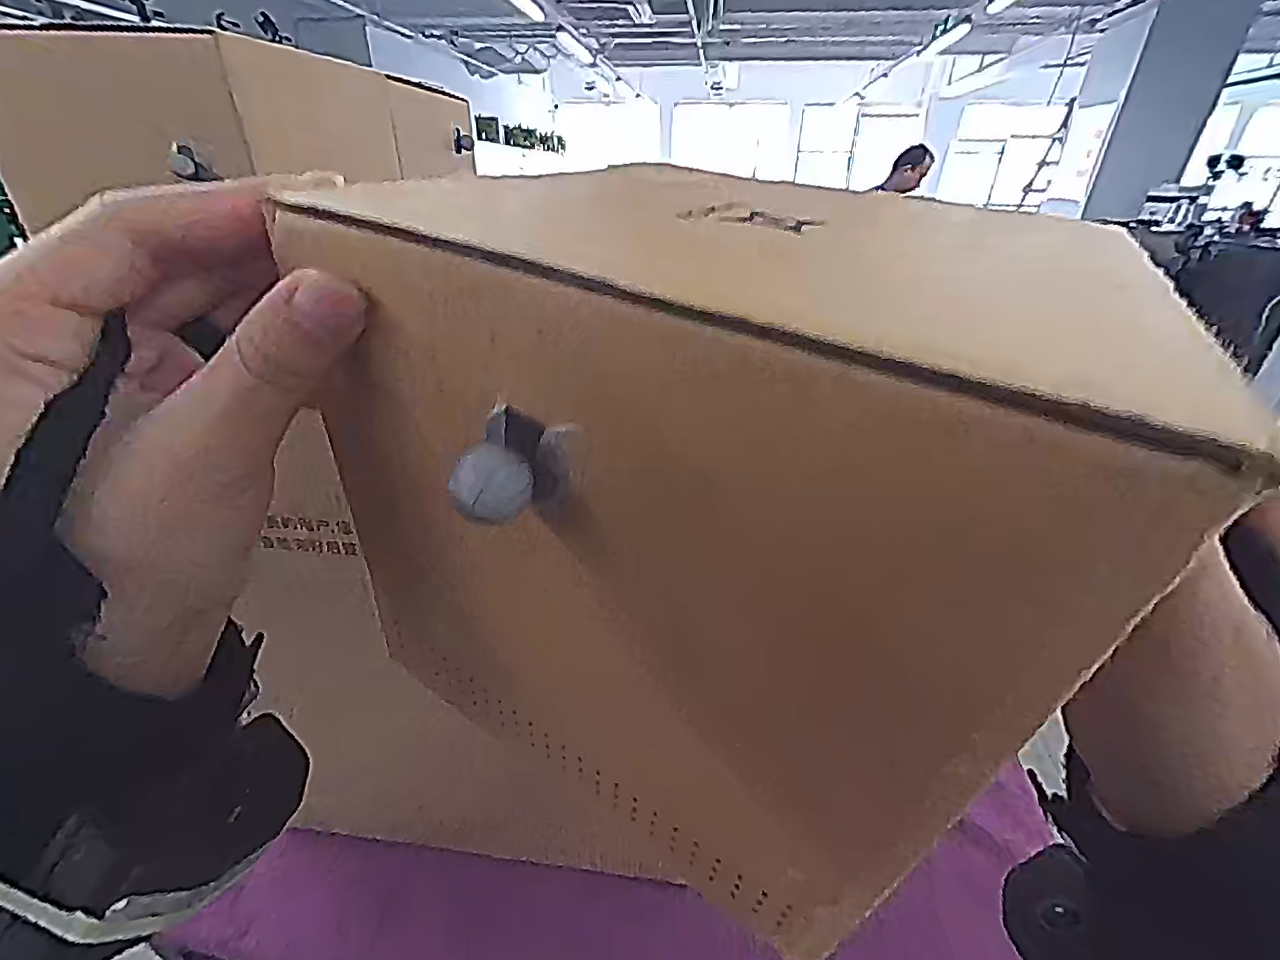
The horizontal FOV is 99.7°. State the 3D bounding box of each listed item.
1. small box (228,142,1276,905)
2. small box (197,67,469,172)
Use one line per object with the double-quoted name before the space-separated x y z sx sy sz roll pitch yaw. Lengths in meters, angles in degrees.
"small box" 0.021 -0.005 0.183 0.179 0.176 0.168 23 39 25
"small box" -0.281 -0.300 0.551 0.168 0.176 0.179 4 29 6
